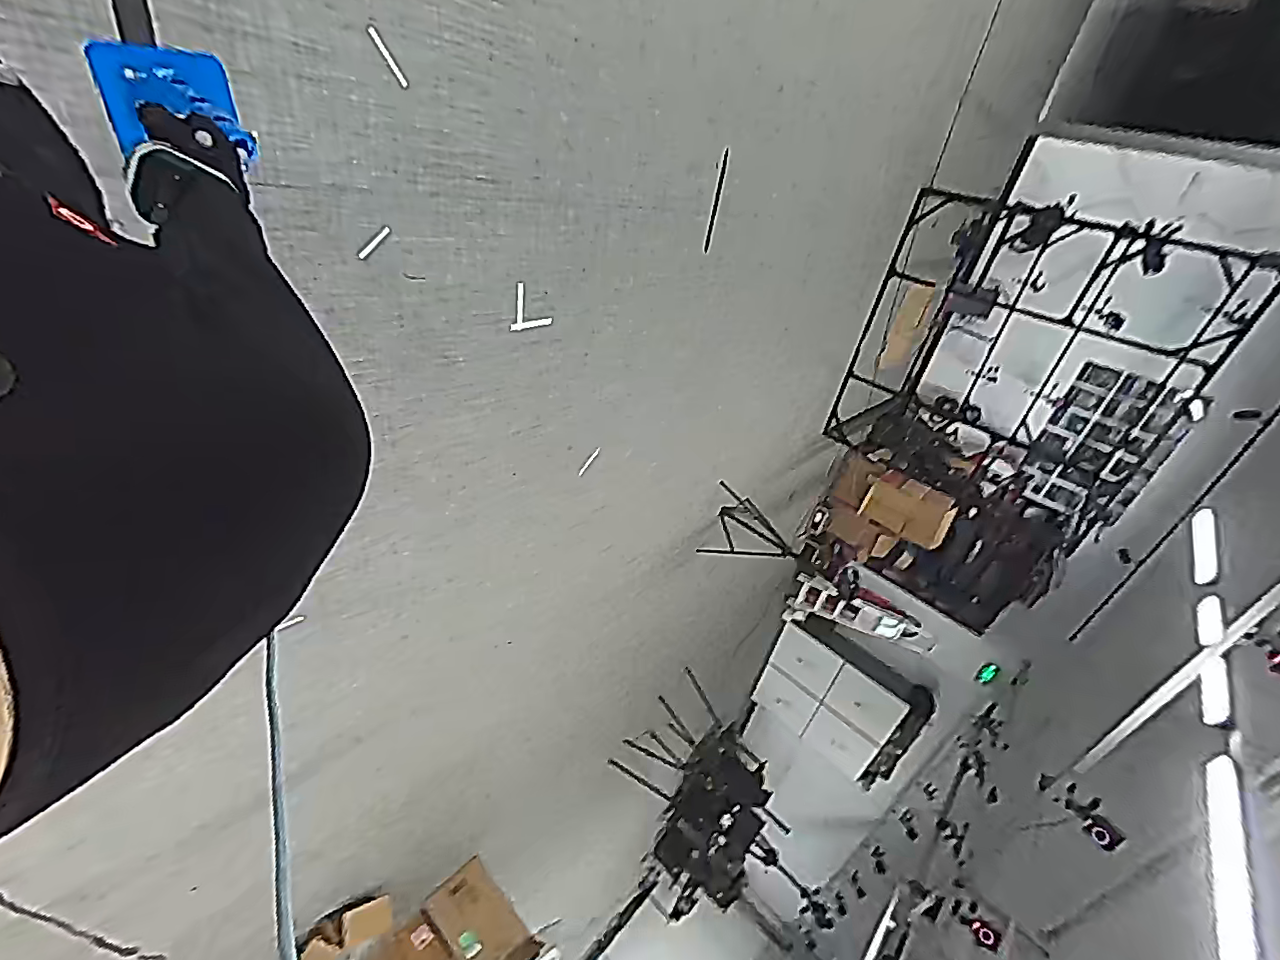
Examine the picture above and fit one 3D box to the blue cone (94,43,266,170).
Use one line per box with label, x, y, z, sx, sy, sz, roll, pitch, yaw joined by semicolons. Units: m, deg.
blue cone;-0.750;-0.613;0.930;0.192;0.380;0.193;-28;140;-42
